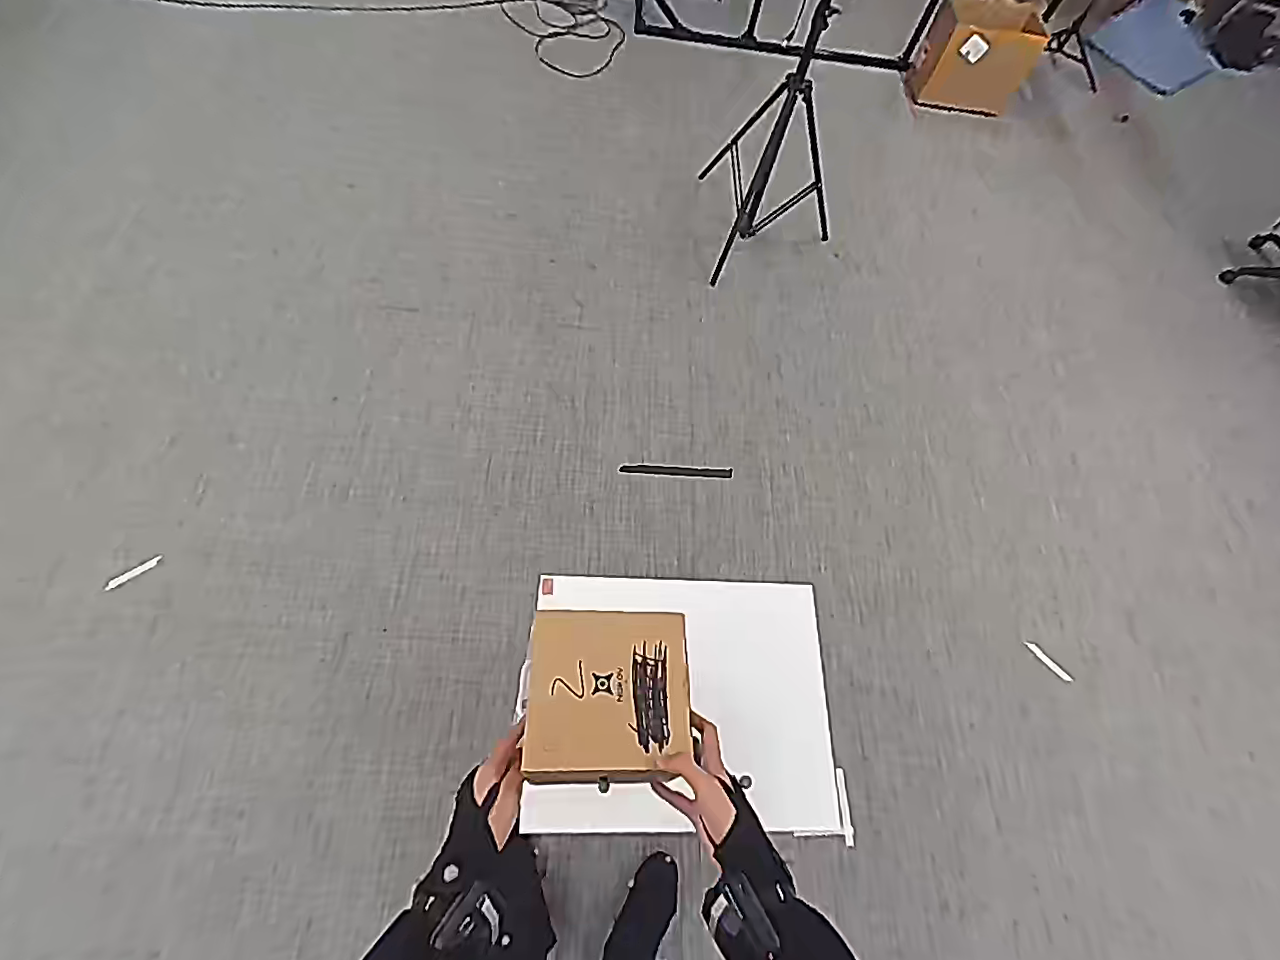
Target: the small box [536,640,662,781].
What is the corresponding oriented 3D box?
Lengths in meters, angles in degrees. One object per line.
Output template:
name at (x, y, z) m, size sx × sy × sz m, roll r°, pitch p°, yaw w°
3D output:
small box at (-0.060, 0.346, 0.816) m, size 0.168 × 0.176 × 0.179 m, roll 4°, pitch 65°, yaw -5°
